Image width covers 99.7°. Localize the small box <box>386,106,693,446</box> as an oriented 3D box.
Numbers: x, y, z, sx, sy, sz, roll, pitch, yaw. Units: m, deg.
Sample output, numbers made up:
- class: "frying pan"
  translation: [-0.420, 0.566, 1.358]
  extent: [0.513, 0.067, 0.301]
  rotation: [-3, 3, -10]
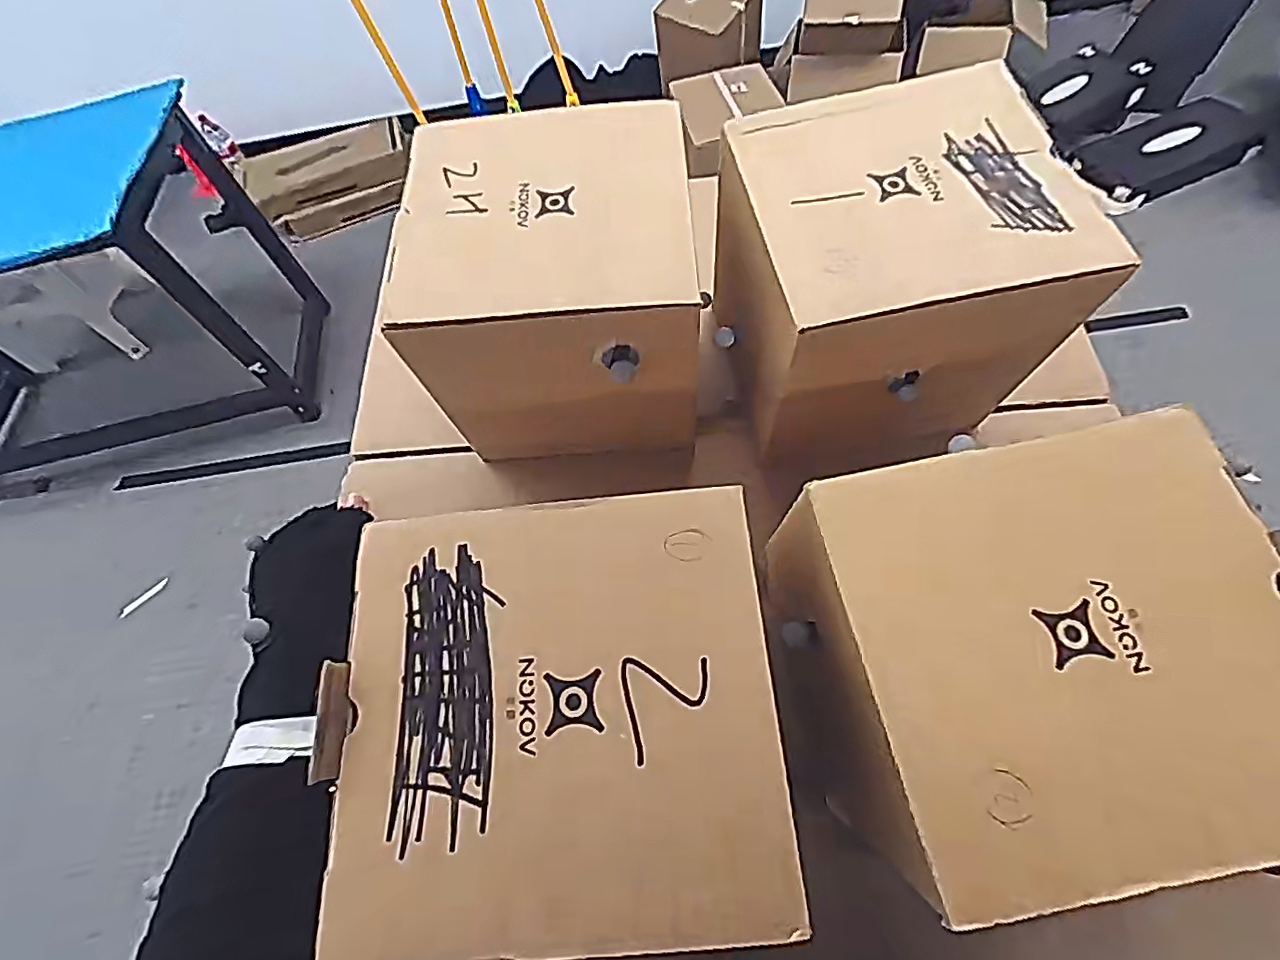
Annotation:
- class: "small box"
  translation: [-0.054, -0.136, 0.405]
  extent: [0.179, 0.176, 0.168]
  rotation: [-3, 66, 4]
